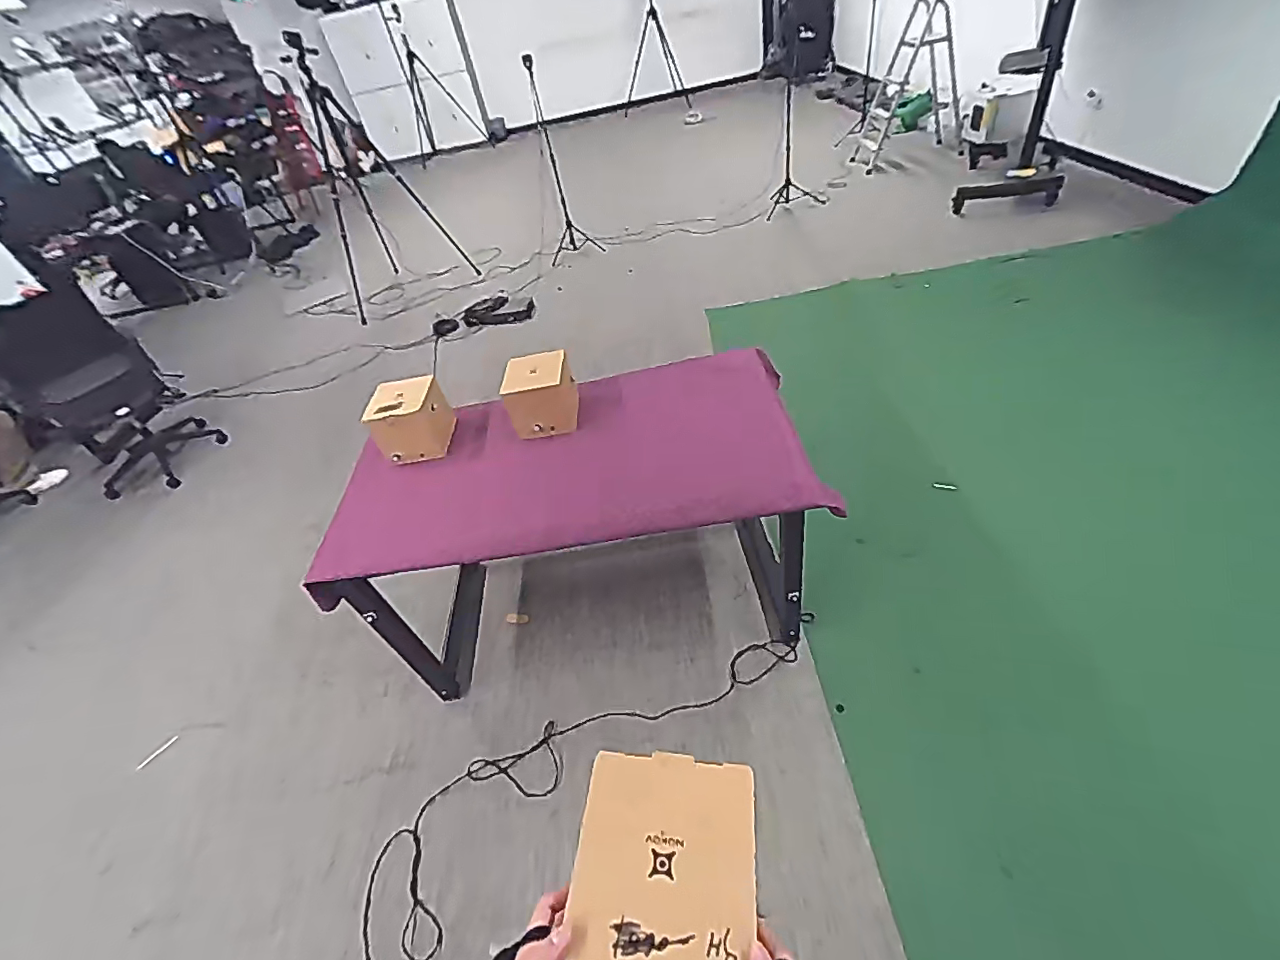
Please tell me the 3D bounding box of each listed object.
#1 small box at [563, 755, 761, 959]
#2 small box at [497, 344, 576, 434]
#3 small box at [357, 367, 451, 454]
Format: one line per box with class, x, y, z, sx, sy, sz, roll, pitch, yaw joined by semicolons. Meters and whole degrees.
small box;0.032;0.411;0.548;0.168;0.176;0.179;1;40;9
small box;-0.279;-0.250;1.502;0.168;0.176;0.179;-8;45;6
small box;-0.651;-0.187;1.515;0.168;0.176;0.179;-8;45;4
